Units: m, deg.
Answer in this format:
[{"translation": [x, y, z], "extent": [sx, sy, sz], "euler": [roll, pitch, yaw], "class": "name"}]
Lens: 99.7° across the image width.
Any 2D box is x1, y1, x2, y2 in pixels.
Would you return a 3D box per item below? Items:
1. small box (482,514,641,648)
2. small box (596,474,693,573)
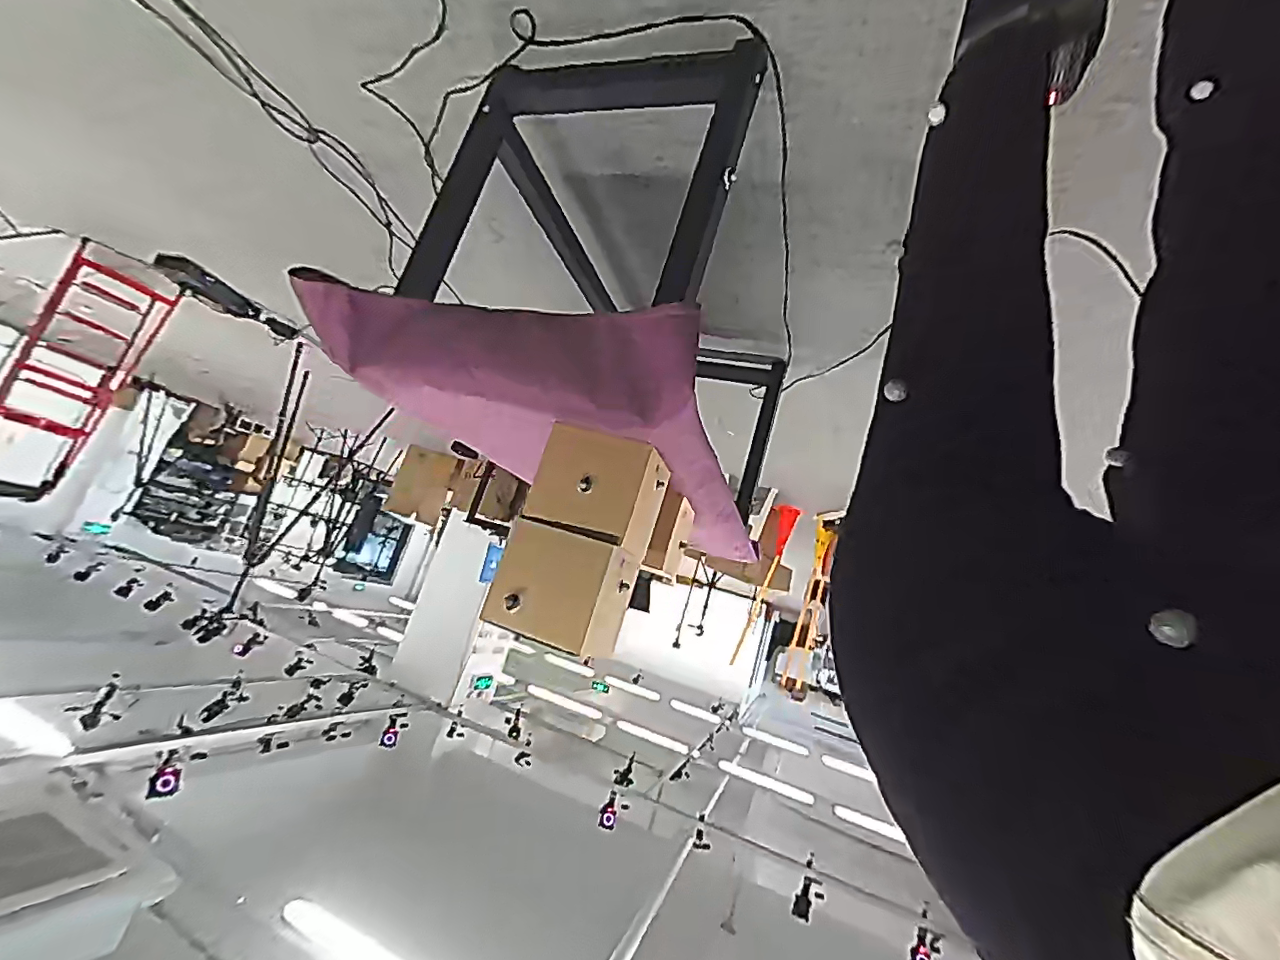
[{"translation": [-0.118, 0.161, 0.876], "extent": [0.179, 0.176, 0.168], "euler": [14, 169, 18], "class": "small box"}, {"translation": [0.013, 0.096, 1.213], "extent": [0.179, 0.176, 0.168], "euler": [15, 168, 17], "class": "small box"}]
